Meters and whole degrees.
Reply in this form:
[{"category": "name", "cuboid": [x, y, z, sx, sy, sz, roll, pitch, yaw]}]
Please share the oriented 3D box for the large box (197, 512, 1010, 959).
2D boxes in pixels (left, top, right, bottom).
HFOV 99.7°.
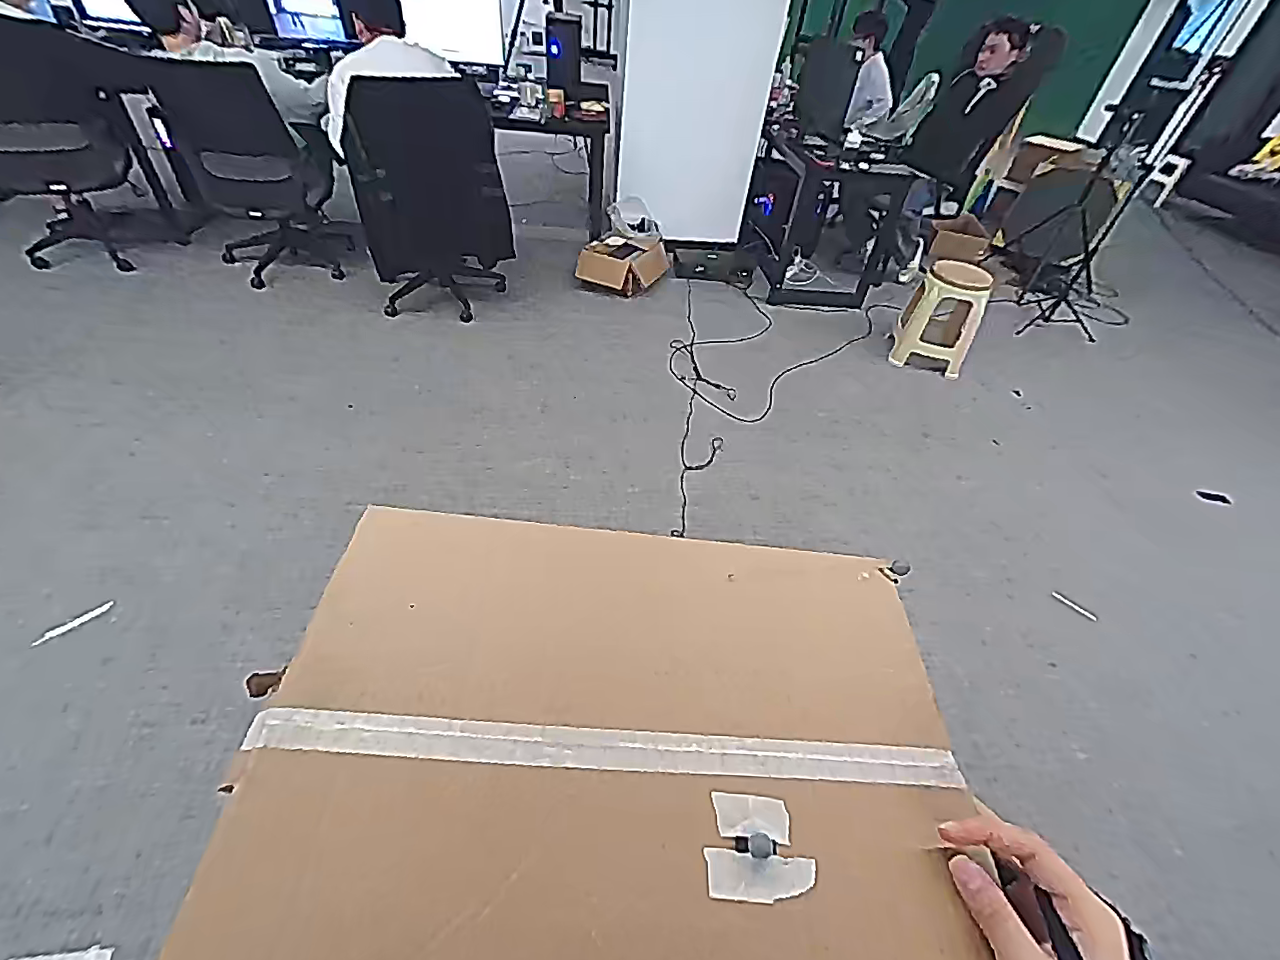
[{"category": "large box", "cuboid": [-0.024, 0.256, 0.437, 0.408, 0.320, 0.320, 7, 48, -6]}]
